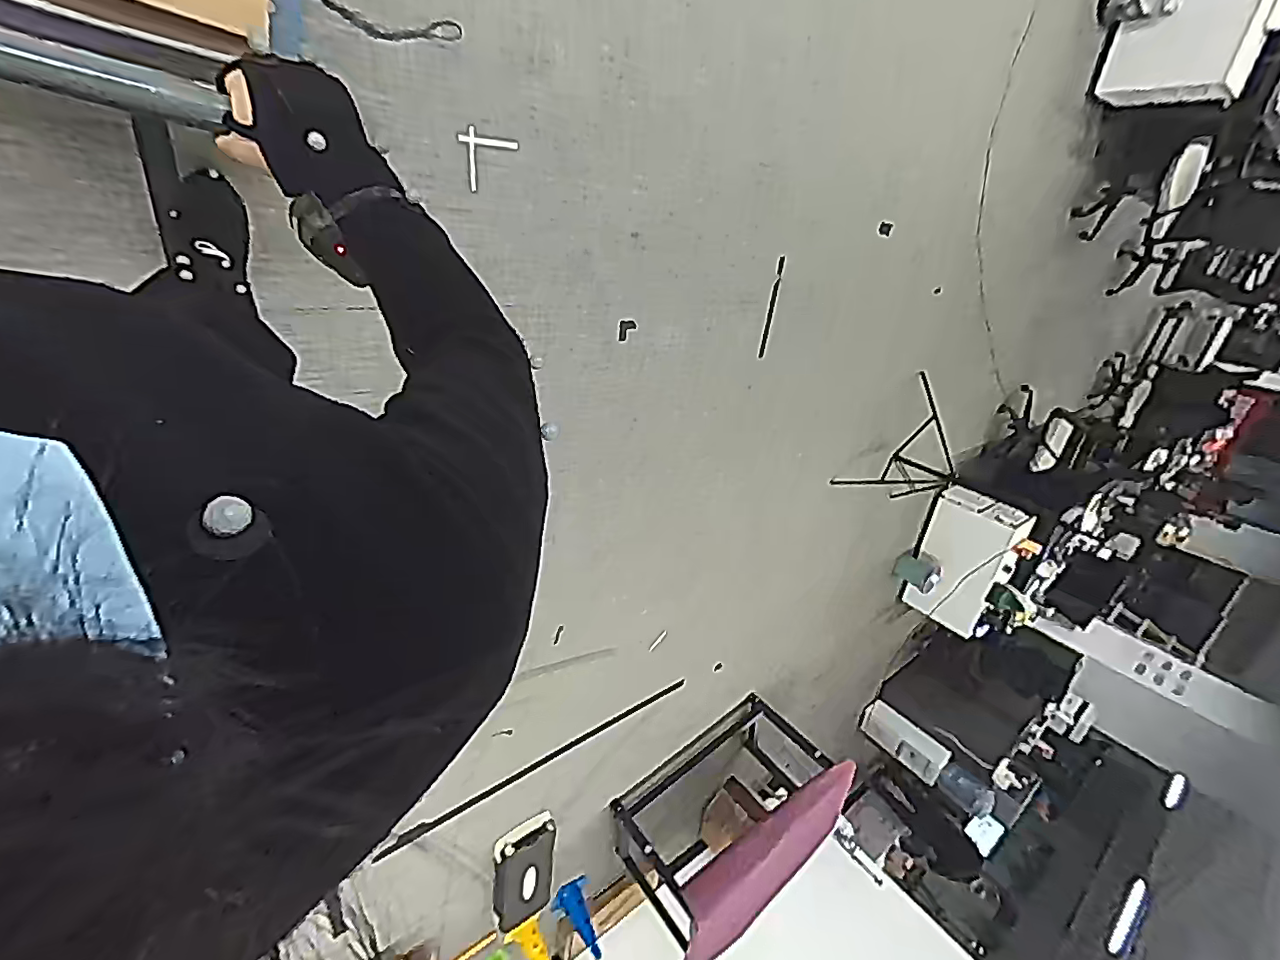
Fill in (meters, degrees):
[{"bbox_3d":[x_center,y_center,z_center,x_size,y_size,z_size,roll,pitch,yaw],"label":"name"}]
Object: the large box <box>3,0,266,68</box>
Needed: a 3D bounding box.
[{"bbox_3d":[-0.694,-0.727,0.605,0.408,0.320,0.320,-8,121,-40],"label":"large box"}]
